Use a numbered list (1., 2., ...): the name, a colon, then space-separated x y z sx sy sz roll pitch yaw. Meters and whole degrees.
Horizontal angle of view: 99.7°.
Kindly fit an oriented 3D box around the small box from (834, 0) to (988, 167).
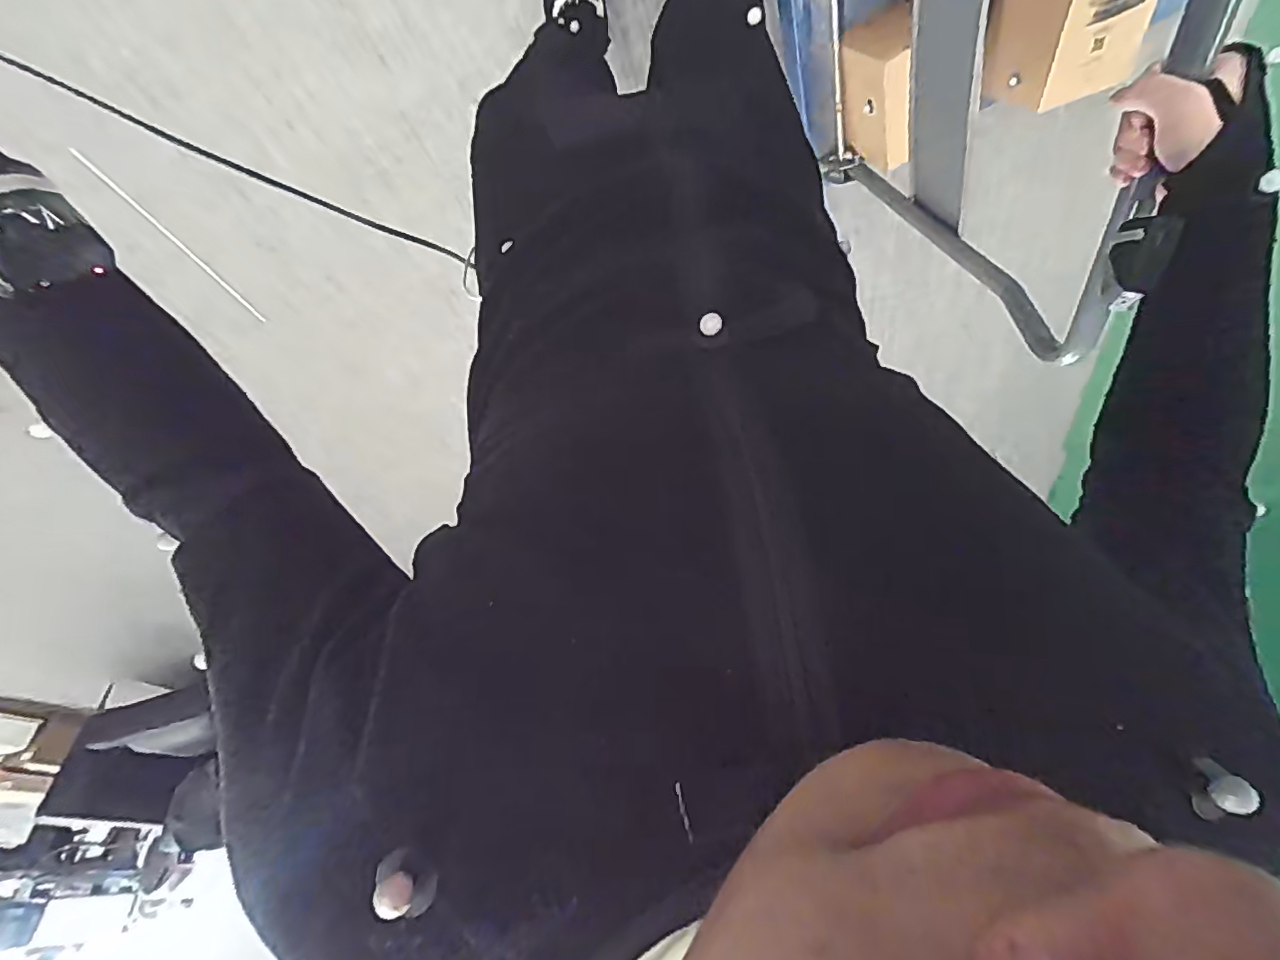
1. small box: 0.445 -0.679 0.911 0.168 0.176 0.179 -26 141 8
